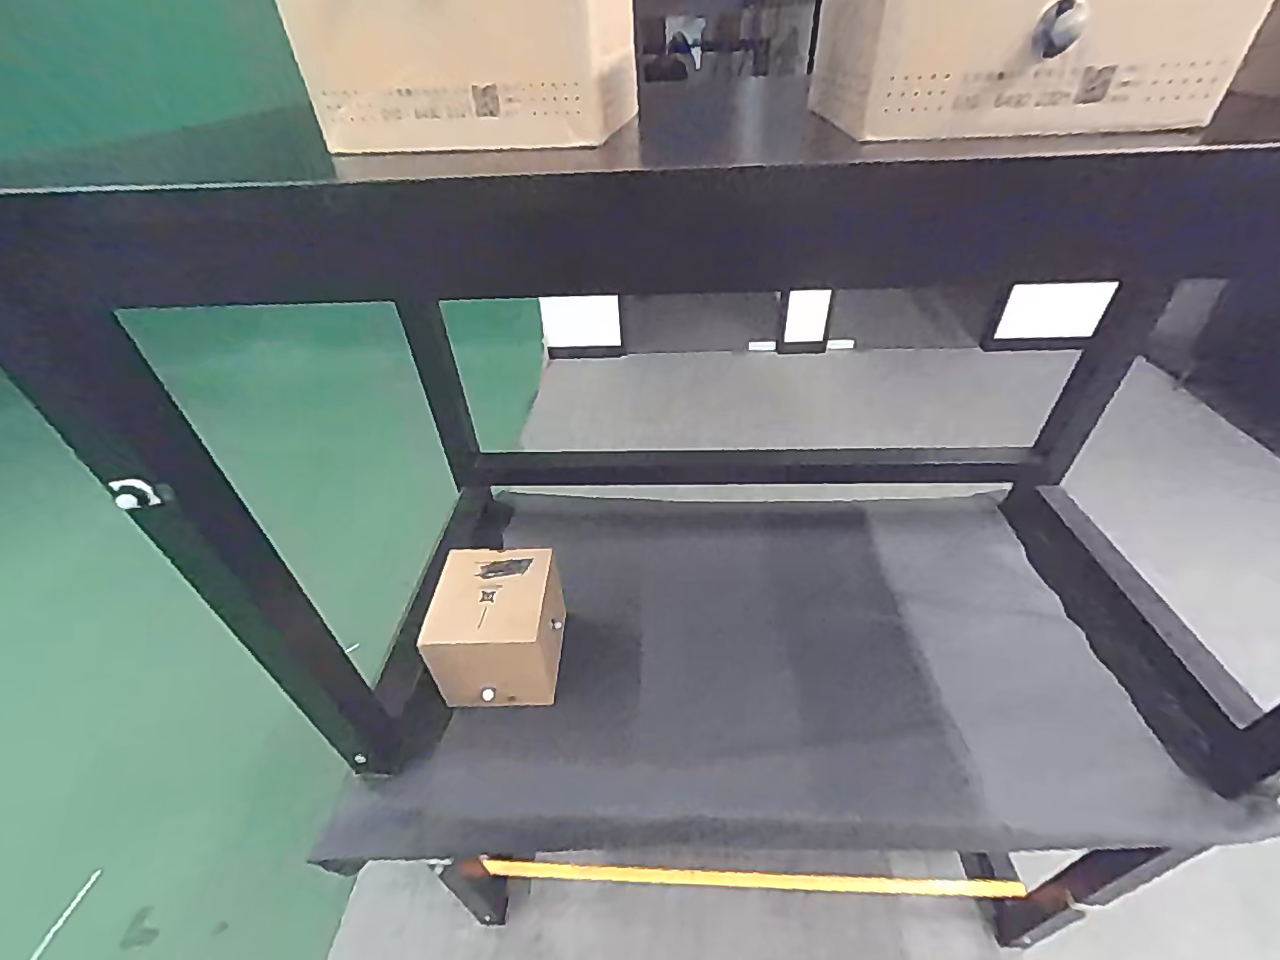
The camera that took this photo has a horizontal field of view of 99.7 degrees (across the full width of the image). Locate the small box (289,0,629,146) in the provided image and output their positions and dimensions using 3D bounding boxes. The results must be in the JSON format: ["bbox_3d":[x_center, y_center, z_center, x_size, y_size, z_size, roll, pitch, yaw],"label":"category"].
[{"bbox_3d":[-0.100,-0.312,0.332,0.168,0.176,0.179,2,39,7],"label":"small box"}]

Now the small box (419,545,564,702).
[{"bbox_3d":[-0.215,0.221,0.840,0.168,0.176,0.179,-2,39,2],"label":"small box"}]
